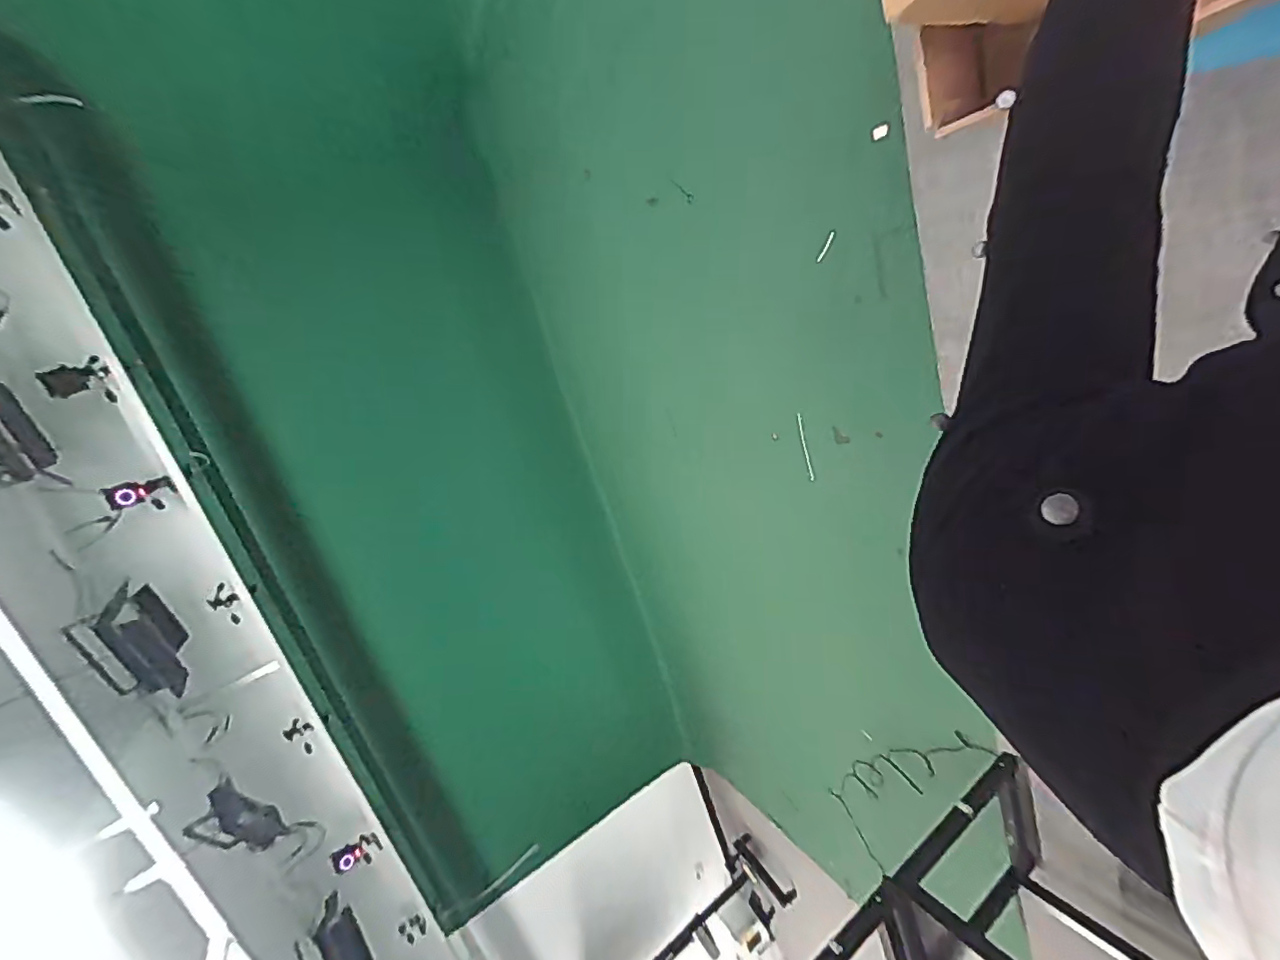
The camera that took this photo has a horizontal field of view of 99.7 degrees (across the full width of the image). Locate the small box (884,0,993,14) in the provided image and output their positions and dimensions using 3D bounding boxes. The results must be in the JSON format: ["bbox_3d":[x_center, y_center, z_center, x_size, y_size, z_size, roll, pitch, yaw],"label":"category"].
[{"bbox_3d":[0.357,-0.613,0.542,0.179,0.176,0.168,3,114,61],"label":"small box"}]
